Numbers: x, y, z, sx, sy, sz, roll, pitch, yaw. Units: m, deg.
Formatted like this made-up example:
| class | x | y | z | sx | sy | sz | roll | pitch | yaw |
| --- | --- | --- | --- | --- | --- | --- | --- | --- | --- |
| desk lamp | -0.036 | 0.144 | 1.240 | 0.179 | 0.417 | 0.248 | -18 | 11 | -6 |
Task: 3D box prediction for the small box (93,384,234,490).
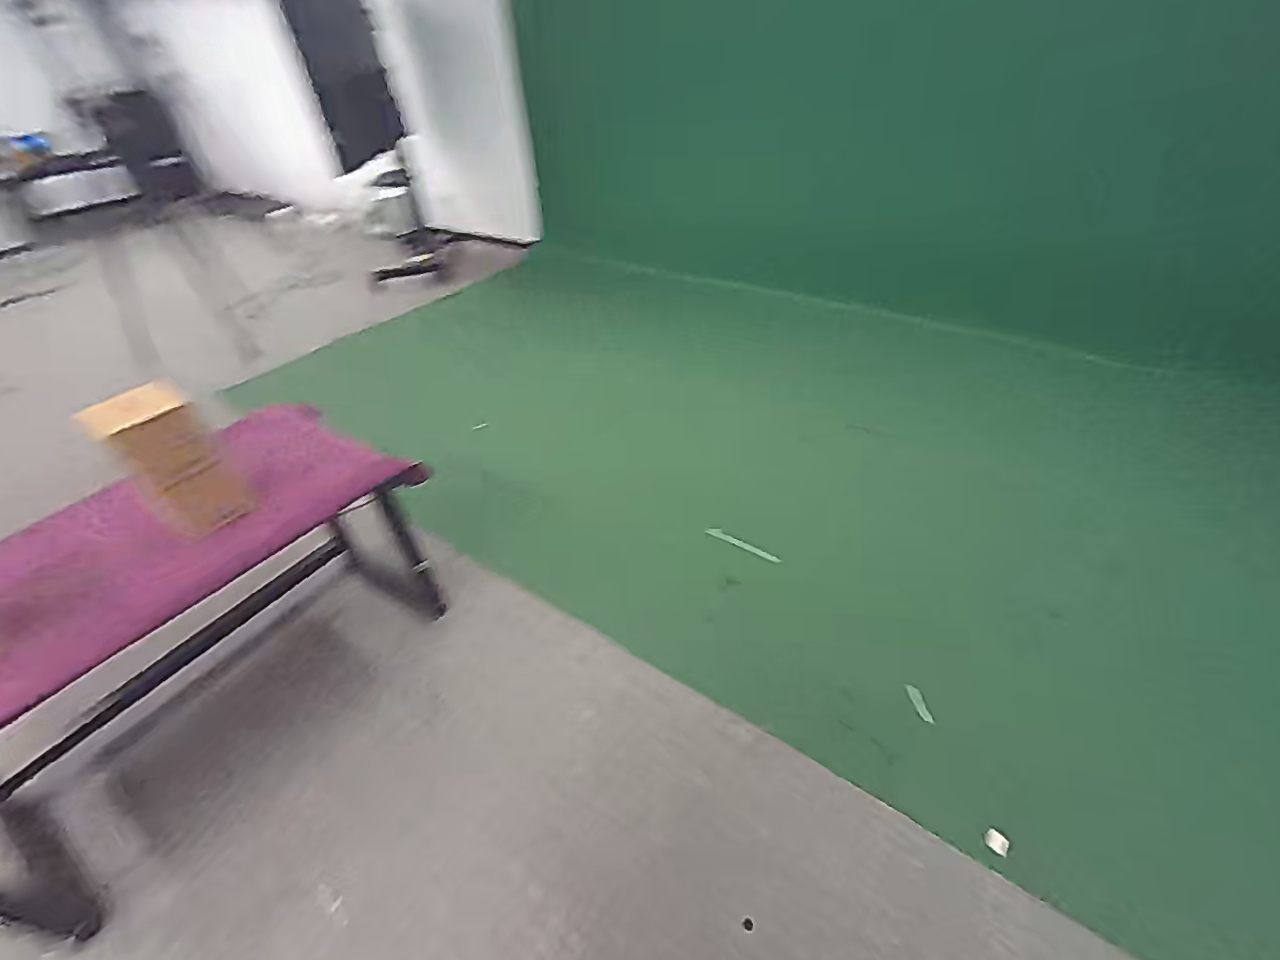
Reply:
| class | x | y | z | sx | sy | sz | roll | pitch | yaw |
| --- | --- | --- | --- | --- | --- | --- | --- | --- | --- |
| small box | -1.123 | -0.100 | 1.287 | 0.179 | 0.176 | 0.168 | 22 | 46 | 28 |
